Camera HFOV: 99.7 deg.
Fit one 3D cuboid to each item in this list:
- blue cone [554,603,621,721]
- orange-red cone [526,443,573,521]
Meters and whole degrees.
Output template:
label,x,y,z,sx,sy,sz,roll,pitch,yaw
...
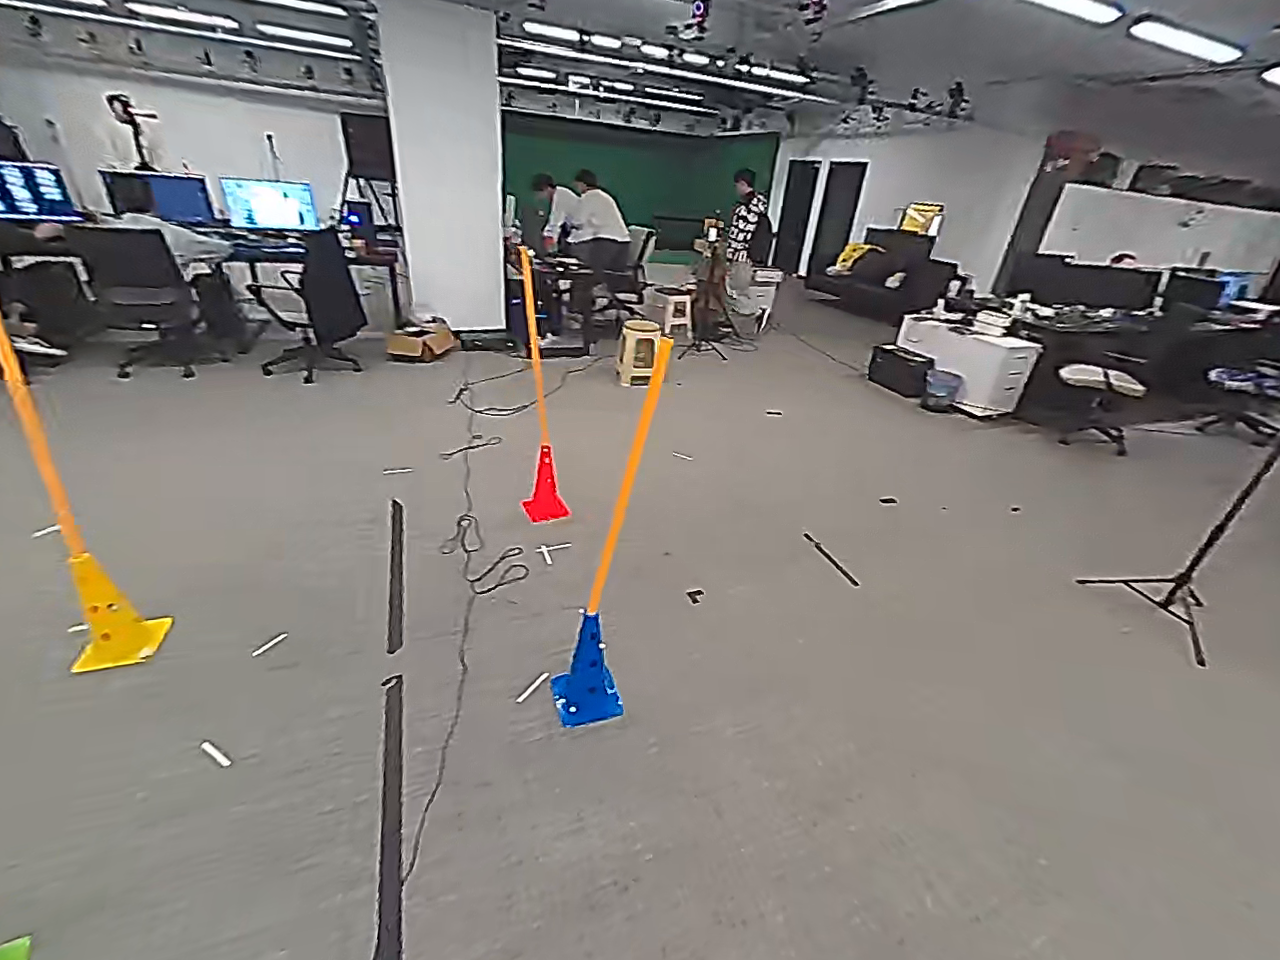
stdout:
label,x,y,z,sx,sy,sz,roll,pitch,yaw
blue cone,-0.155,0.539,1.657,0.193,0.380,0.192,-5,29,-18
orange-red cone,-0.436,-0.009,2.582,0.199,0.360,0.198,-10,32,-24
